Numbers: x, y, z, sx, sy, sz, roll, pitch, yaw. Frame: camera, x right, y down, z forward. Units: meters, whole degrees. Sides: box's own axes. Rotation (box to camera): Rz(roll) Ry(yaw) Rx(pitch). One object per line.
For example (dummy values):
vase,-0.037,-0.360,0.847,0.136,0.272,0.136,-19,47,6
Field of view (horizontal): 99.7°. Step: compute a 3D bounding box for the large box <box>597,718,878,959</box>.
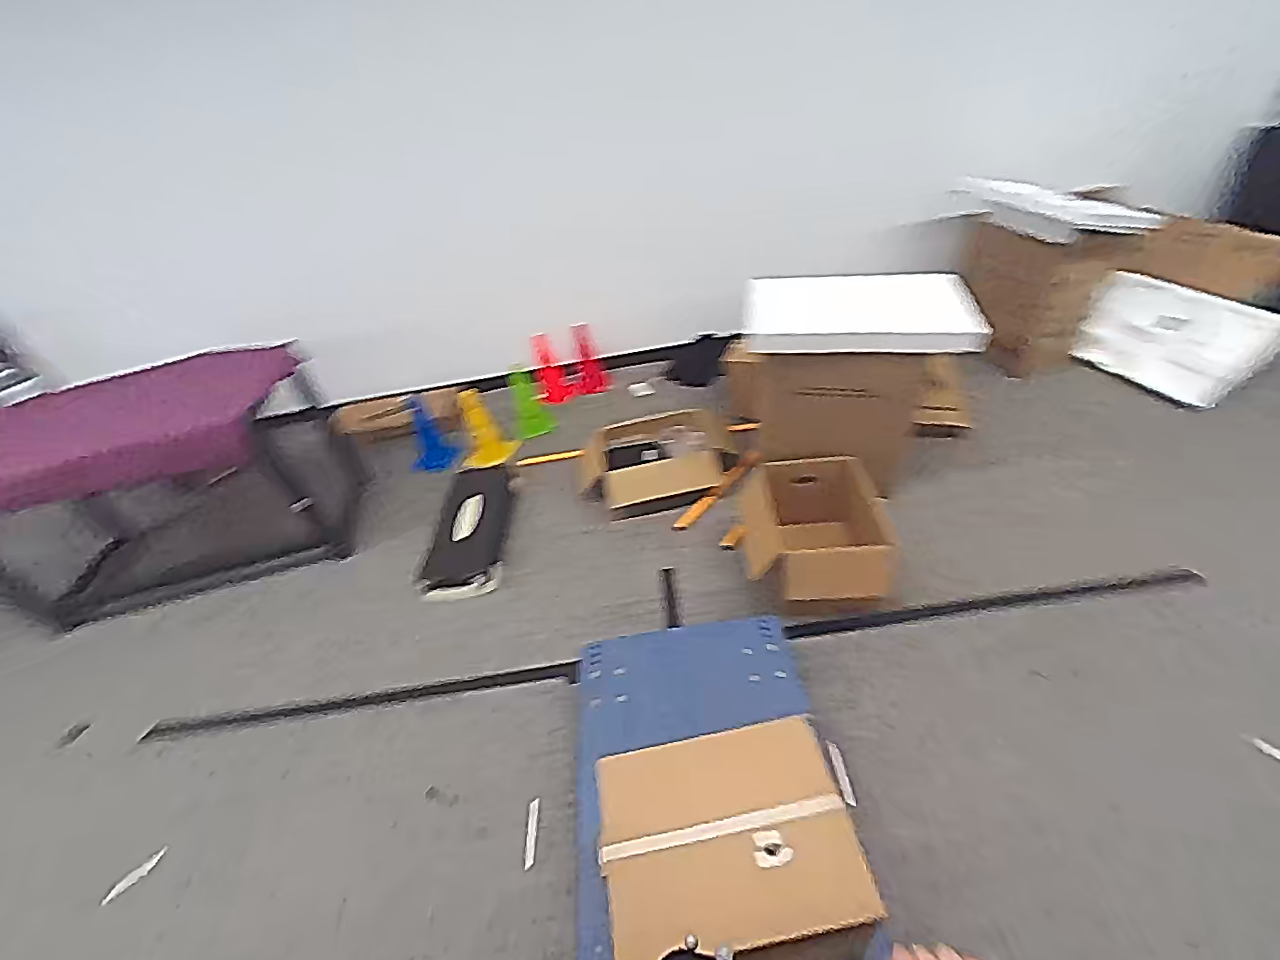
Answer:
large box,0.155,0.703,0.997,0.408,0.320,0.320,-11,40,-3
